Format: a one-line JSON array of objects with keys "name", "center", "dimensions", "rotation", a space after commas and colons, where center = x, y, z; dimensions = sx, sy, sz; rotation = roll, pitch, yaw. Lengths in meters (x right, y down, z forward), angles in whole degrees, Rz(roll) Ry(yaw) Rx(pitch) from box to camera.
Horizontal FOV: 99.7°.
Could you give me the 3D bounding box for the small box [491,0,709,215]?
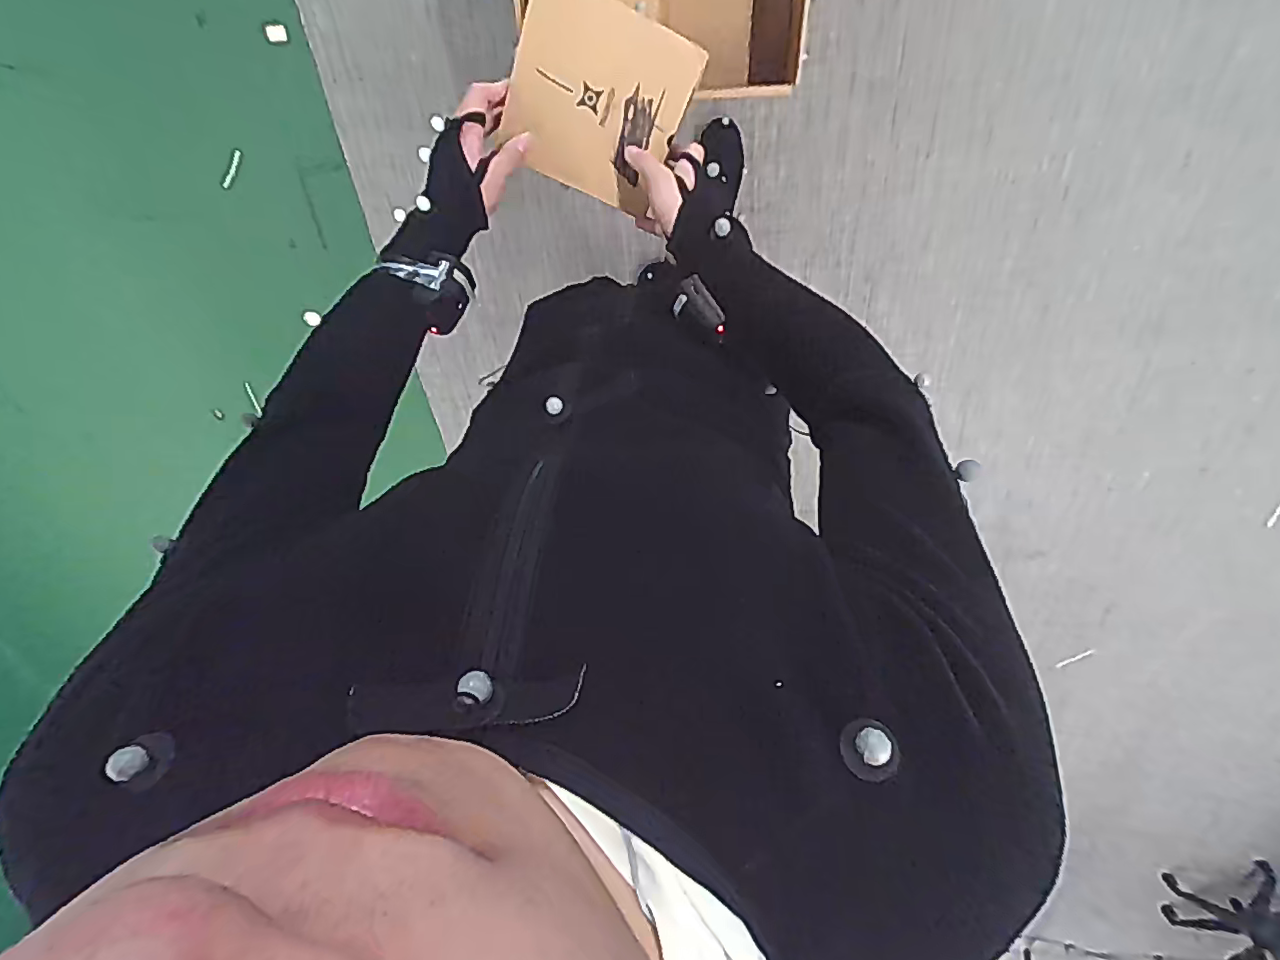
[{"name": "small box", "center": [-0.047, -0.429, 0.603], "dimensions": [0.179, 0.176, 0.168], "rotation": [18, 122, -16]}]
